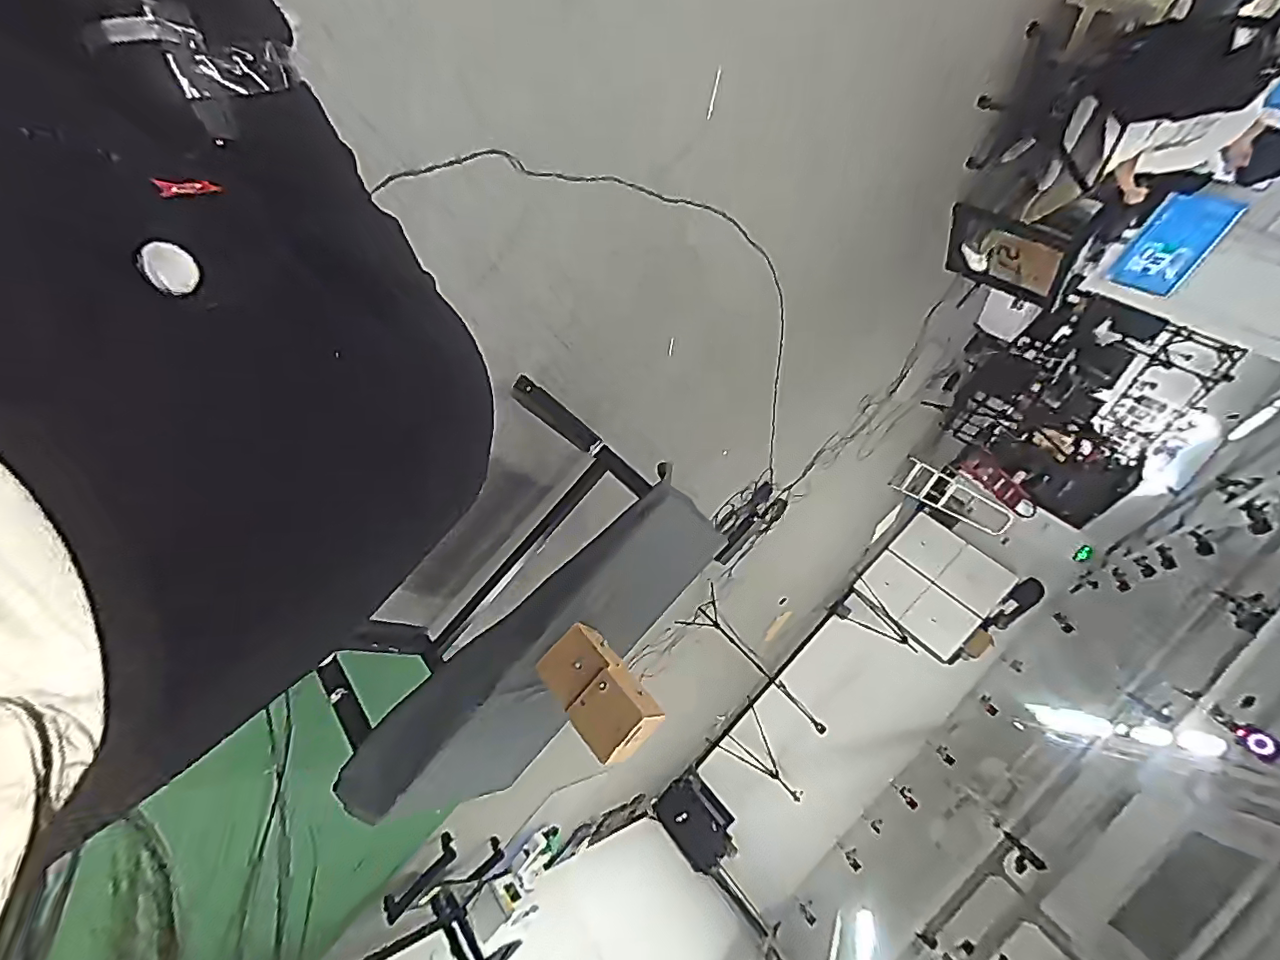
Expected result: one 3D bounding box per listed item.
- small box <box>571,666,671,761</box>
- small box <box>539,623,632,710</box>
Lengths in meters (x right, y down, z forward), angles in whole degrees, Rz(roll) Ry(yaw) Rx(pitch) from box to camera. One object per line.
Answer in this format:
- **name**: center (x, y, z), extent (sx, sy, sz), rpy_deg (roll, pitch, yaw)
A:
- **small box**: center (-0.054, 0.625, 1.466), extent (0.168, 0.176, 0.179), rpy_deg (-50, 148, 3)
- **small box**: center (-0.158, 0.536, 1.563), extent (0.179, 0.176, 0.168), rpy_deg (-47, 151, -2)
